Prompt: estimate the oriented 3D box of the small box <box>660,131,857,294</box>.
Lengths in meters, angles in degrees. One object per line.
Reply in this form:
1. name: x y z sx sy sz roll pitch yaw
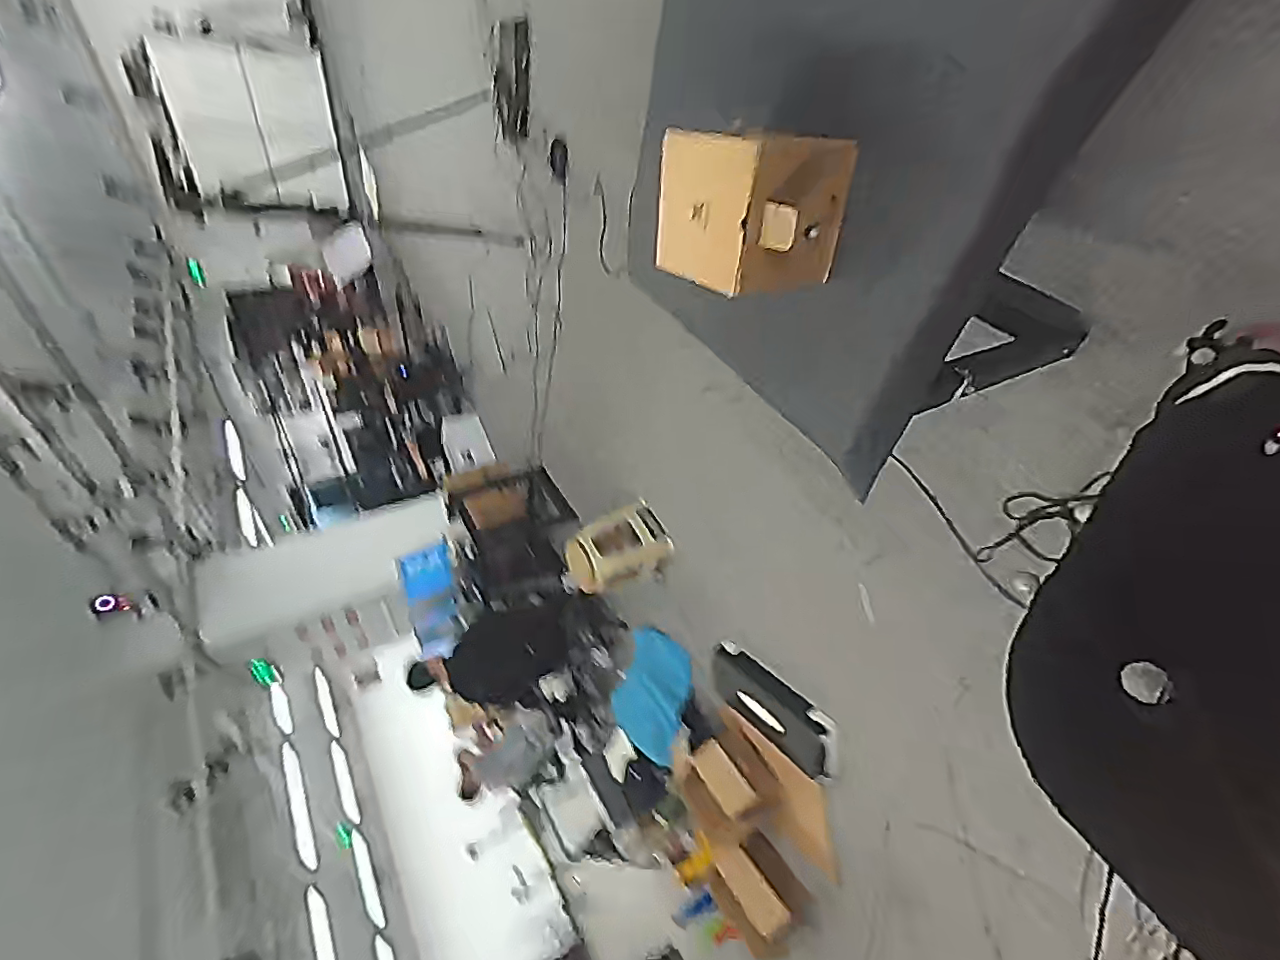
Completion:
1. small box: 0.147 -0.356 0.715 0.179 0.176 0.168 41 139 43
